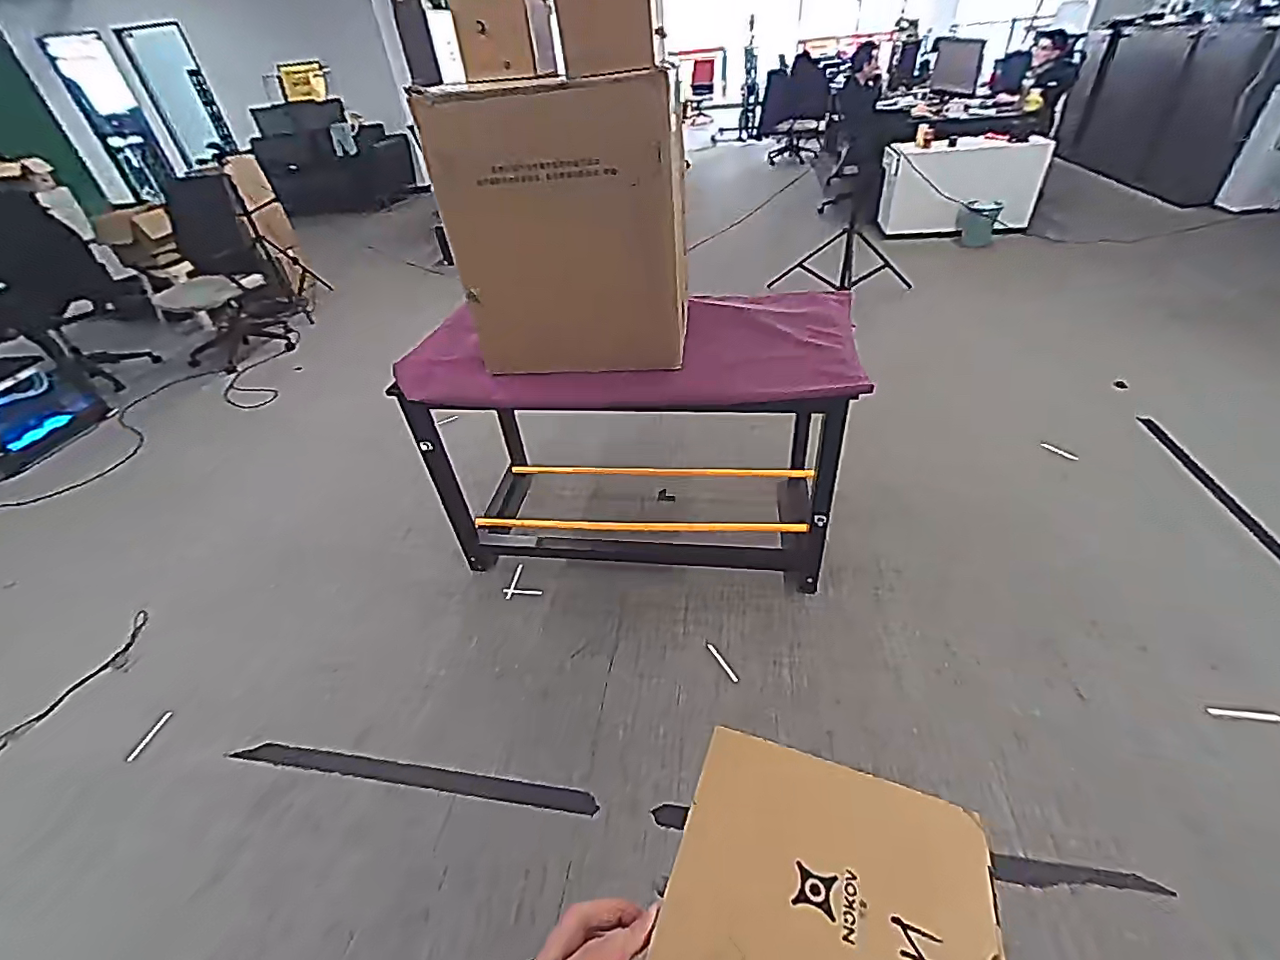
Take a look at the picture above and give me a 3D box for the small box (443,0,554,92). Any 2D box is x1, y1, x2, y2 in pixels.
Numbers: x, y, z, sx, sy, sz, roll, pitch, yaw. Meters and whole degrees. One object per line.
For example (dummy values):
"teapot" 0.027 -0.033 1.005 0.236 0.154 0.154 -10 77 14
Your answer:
"small box" -0.301 -0.972 1.198 0.168 0.176 0.179 3 40 10

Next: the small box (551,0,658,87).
"small box" -0.064 -0.868 1.033 0.179 0.176 0.168 -2 39 7

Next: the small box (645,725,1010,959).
"small box" 0.109 0.299 0.342 0.179 0.176 0.168 11 33 18
